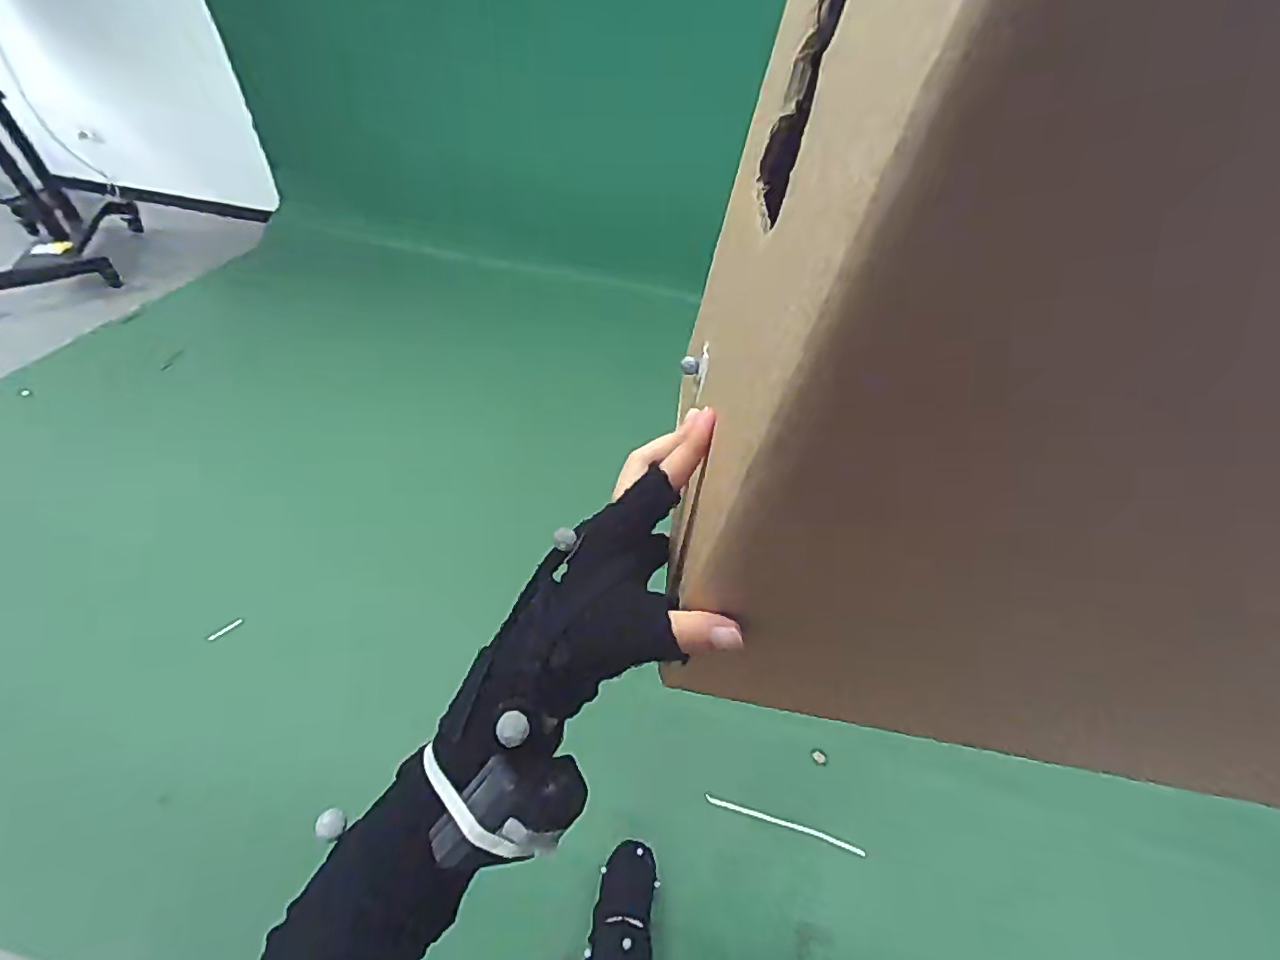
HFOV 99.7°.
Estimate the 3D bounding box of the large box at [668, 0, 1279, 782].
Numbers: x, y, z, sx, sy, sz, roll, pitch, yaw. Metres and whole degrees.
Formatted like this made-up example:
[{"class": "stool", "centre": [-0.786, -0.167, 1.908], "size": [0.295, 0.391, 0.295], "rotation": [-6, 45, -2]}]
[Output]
[{"class": "large box", "centre": [0.248, -0.059, 0.321], "size": [0.408, 0.320, 0.320], "rotation": [13, 45, -3]}]
